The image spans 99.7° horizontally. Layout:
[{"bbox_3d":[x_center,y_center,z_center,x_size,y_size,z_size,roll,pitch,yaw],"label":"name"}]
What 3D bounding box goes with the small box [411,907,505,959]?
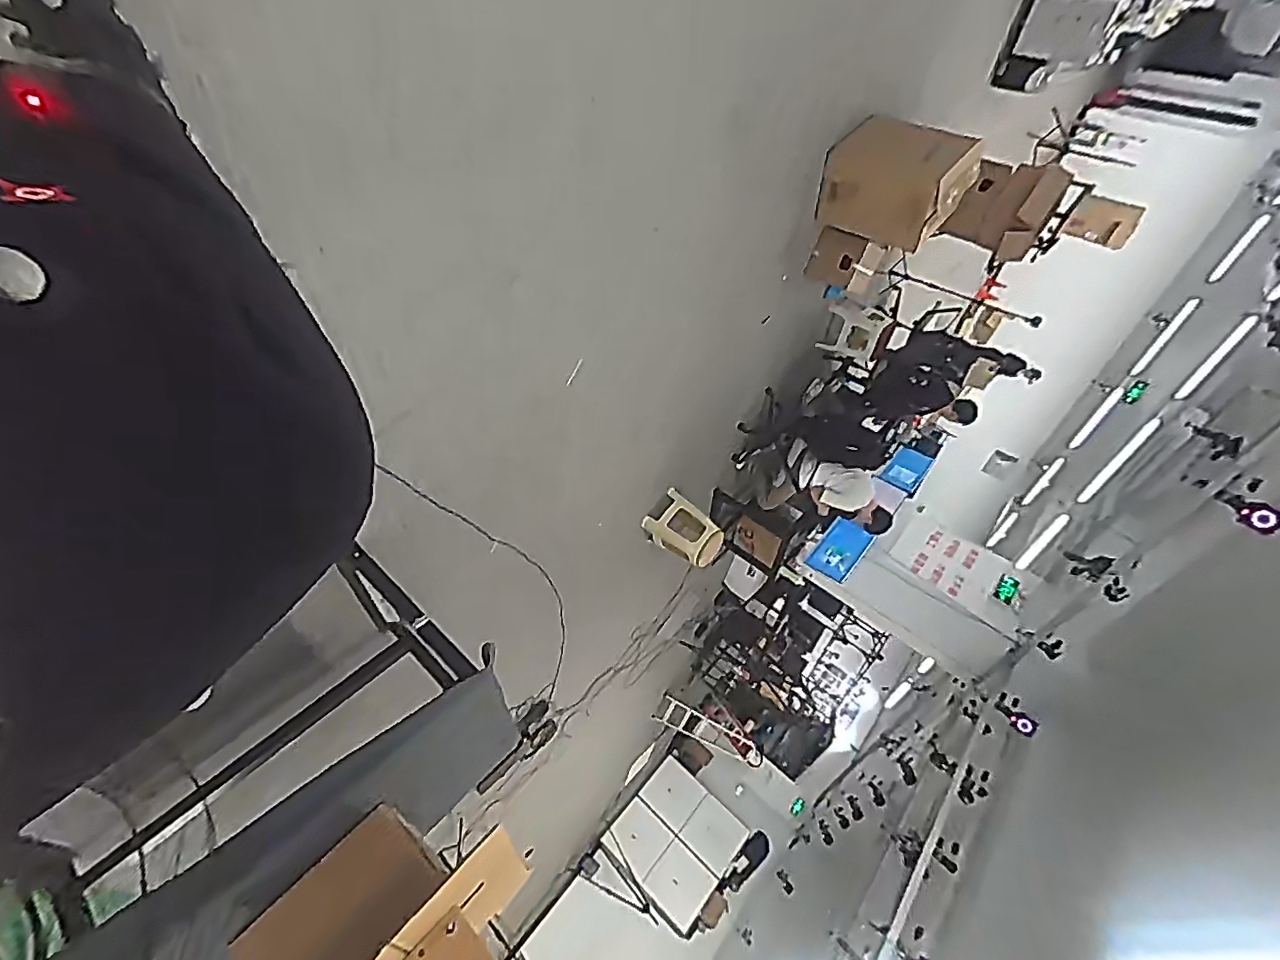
[{"bbox_3d":[-0.432,1.166,1.285,0.168,0.176,0.179,-37,147,-35],"label":"small box"}]
